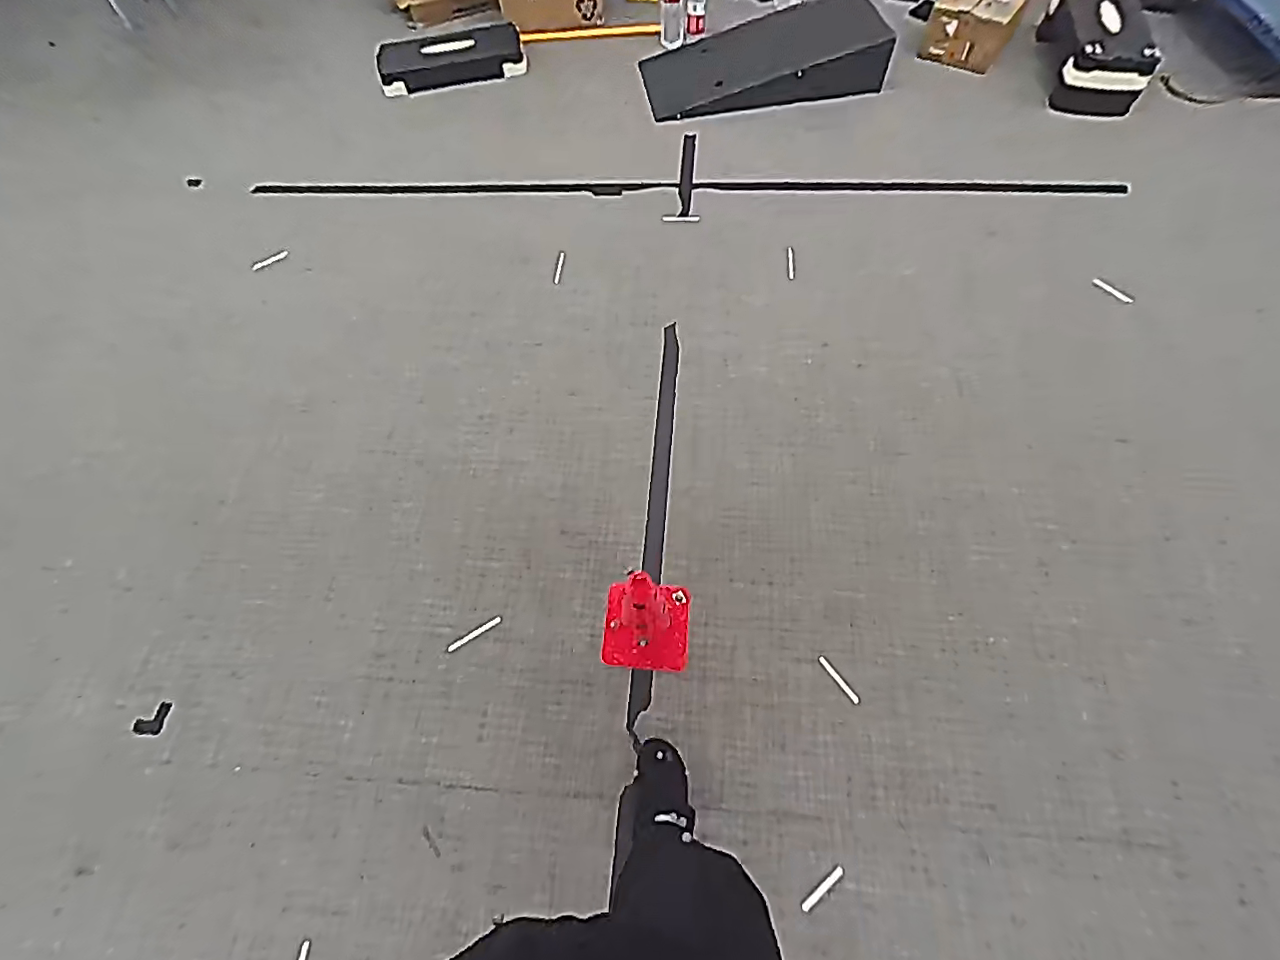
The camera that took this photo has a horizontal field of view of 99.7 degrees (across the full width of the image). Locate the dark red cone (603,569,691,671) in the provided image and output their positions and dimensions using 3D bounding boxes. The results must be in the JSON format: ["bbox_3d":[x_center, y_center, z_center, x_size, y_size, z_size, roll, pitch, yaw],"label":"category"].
[{"bbox_3d":[0.007,0.262,1.121,0.201,0.394,0.202,2,63,6],"label":"dark red cone"}]
